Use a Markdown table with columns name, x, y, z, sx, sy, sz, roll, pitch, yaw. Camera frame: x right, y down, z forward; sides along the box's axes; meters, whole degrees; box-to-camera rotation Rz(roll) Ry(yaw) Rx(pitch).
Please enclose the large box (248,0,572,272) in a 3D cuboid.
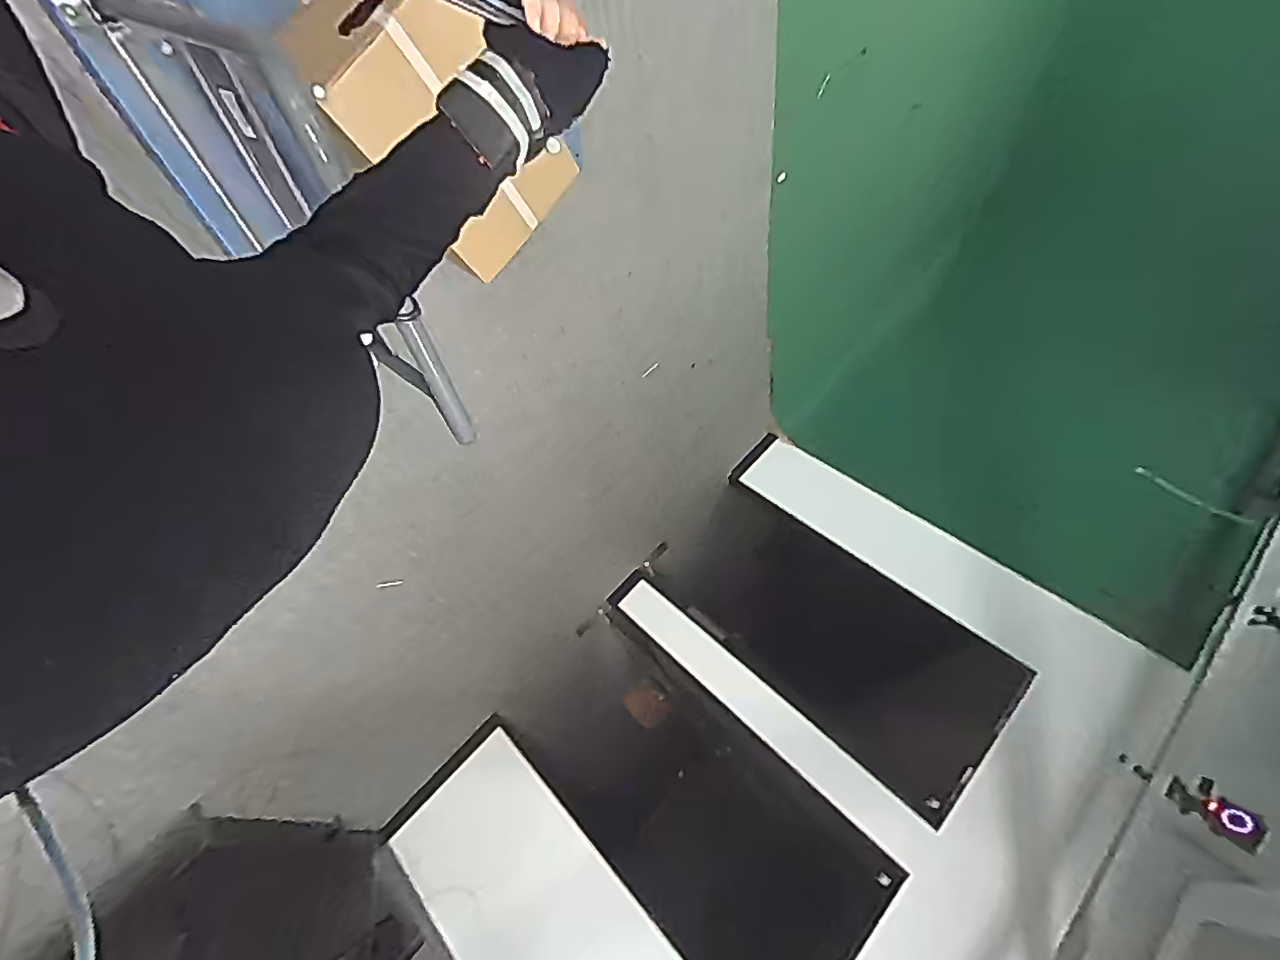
| name | x | y | z | sx | sy | sz | roll | pitch | yaw |
| --- | --- | --- | --- | --- | --- | --- | --- | --- | --- |
| large box | -0.408 | -0.686 | 1.025 | 0.320 | 0.320 | 0.408 | -51 | 150 | -3 |
